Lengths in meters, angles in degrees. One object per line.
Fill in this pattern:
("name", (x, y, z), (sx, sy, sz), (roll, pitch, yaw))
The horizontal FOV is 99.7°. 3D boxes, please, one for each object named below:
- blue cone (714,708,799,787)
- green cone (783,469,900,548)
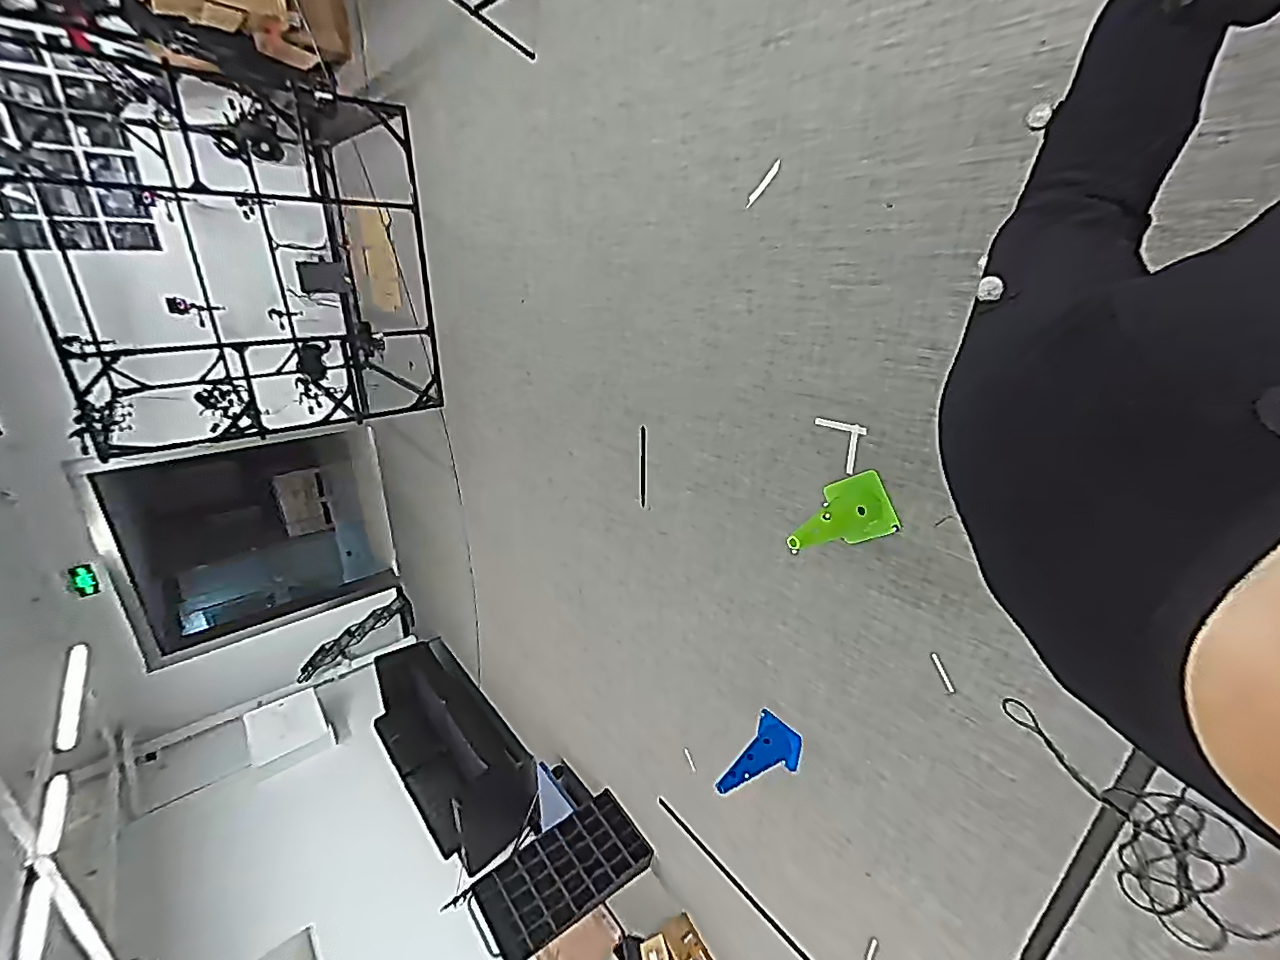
("blue cone", (0.443, 1.097, 2.133), (0.192, 0.380, 0.193), (31, 126, 44))
("green cone", (0.550, 0.118, 1.575), (0.202, 0.368, 0.200), (-32, 78, 54))
